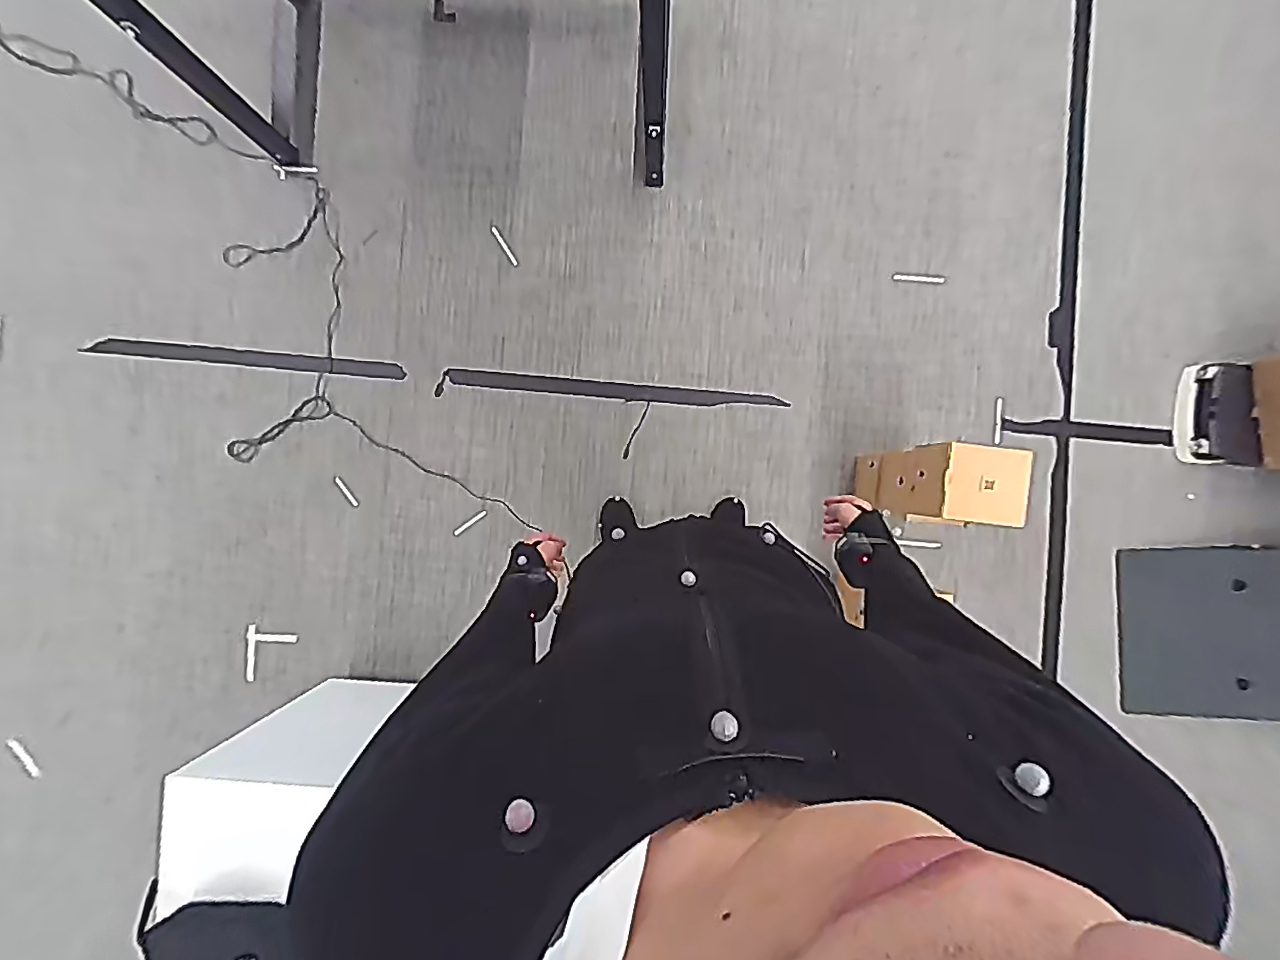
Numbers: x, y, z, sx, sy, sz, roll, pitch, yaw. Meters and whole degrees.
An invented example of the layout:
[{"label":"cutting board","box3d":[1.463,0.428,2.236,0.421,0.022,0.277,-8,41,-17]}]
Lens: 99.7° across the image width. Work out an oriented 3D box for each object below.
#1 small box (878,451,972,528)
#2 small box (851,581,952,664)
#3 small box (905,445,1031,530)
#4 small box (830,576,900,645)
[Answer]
[{"label":"small box","box3d":[0.728,0.024,1.384,0.168,0.176,0.179,4,91,1]},{"label":"small box","box3d":[0.664,0.358,1.386,0.179,0.176,0.168,4,89,1]},{"label":"small box","box3d":[0.732,0.014,1.221,0.179,0.176,0.168,6,91,2]},{"label":"small box","box3d":[0.665,0.372,1.550,0.179,0.176,0.168,2,89,2]}]
